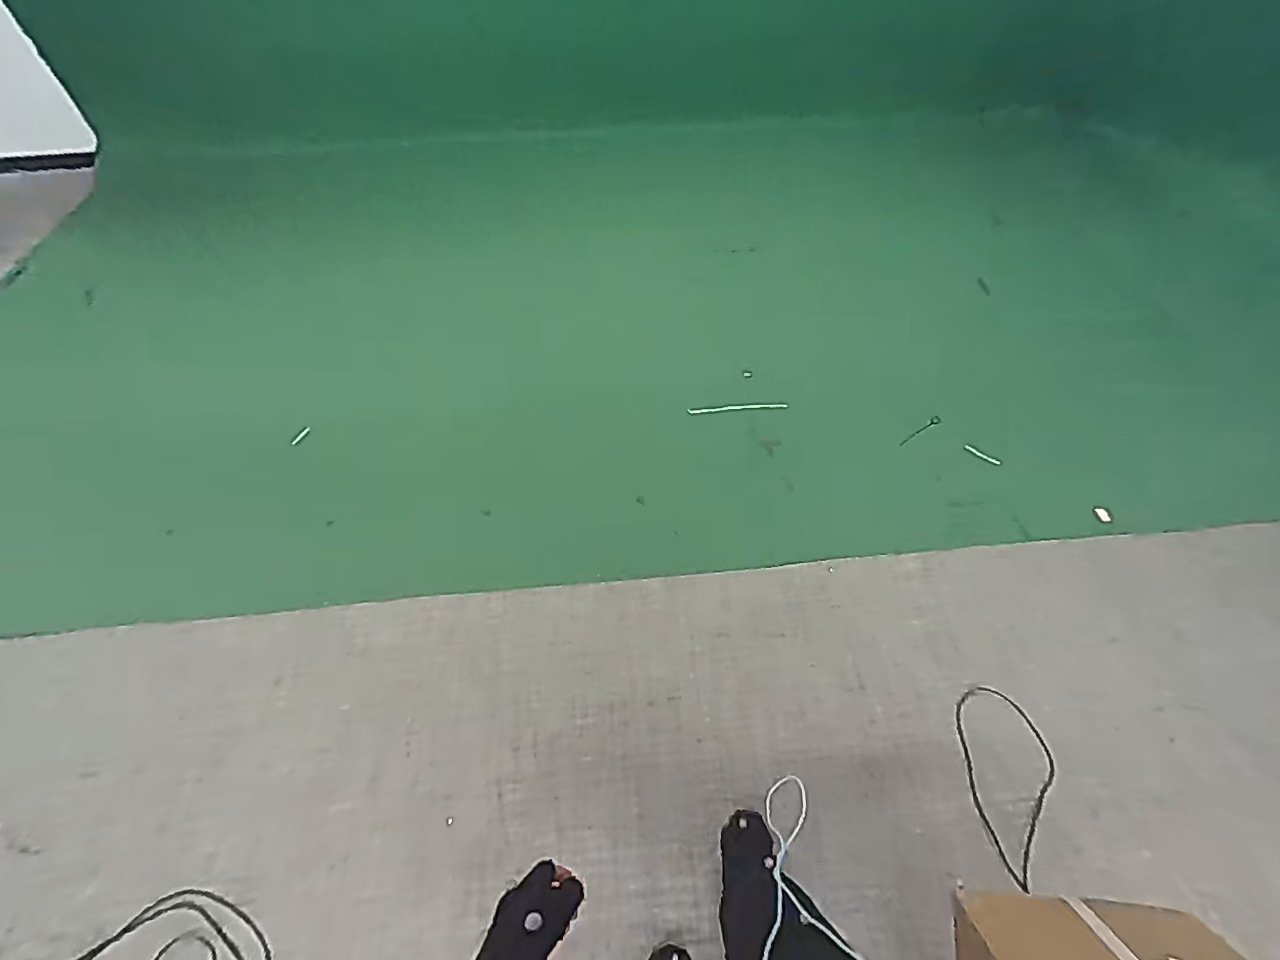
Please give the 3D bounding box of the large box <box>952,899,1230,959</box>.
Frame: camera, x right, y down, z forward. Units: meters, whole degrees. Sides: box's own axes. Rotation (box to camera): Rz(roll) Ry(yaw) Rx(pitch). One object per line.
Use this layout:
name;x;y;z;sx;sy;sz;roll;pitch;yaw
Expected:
large box;0.583;0.750;0.568;0.320;0.408;0.320;1;86;8
